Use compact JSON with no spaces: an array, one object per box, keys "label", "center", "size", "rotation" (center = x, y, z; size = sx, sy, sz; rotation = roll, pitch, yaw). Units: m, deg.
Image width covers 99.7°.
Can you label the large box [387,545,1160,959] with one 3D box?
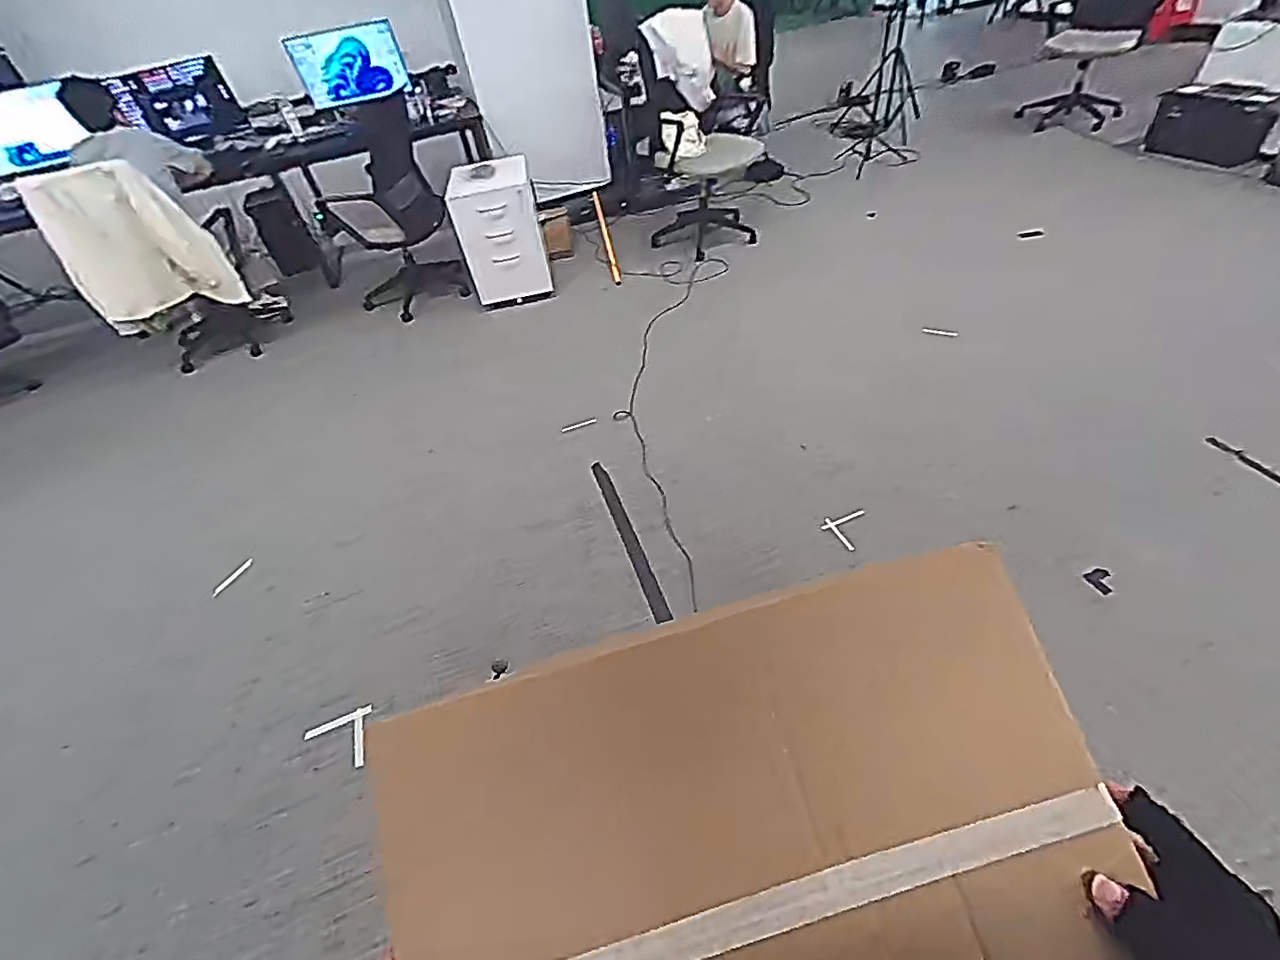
[{"label":"large box","center":[0.075,0.278,0.455],"size":[0.408,0.320,0.320],"rotation":[-16,77,-2]}]
